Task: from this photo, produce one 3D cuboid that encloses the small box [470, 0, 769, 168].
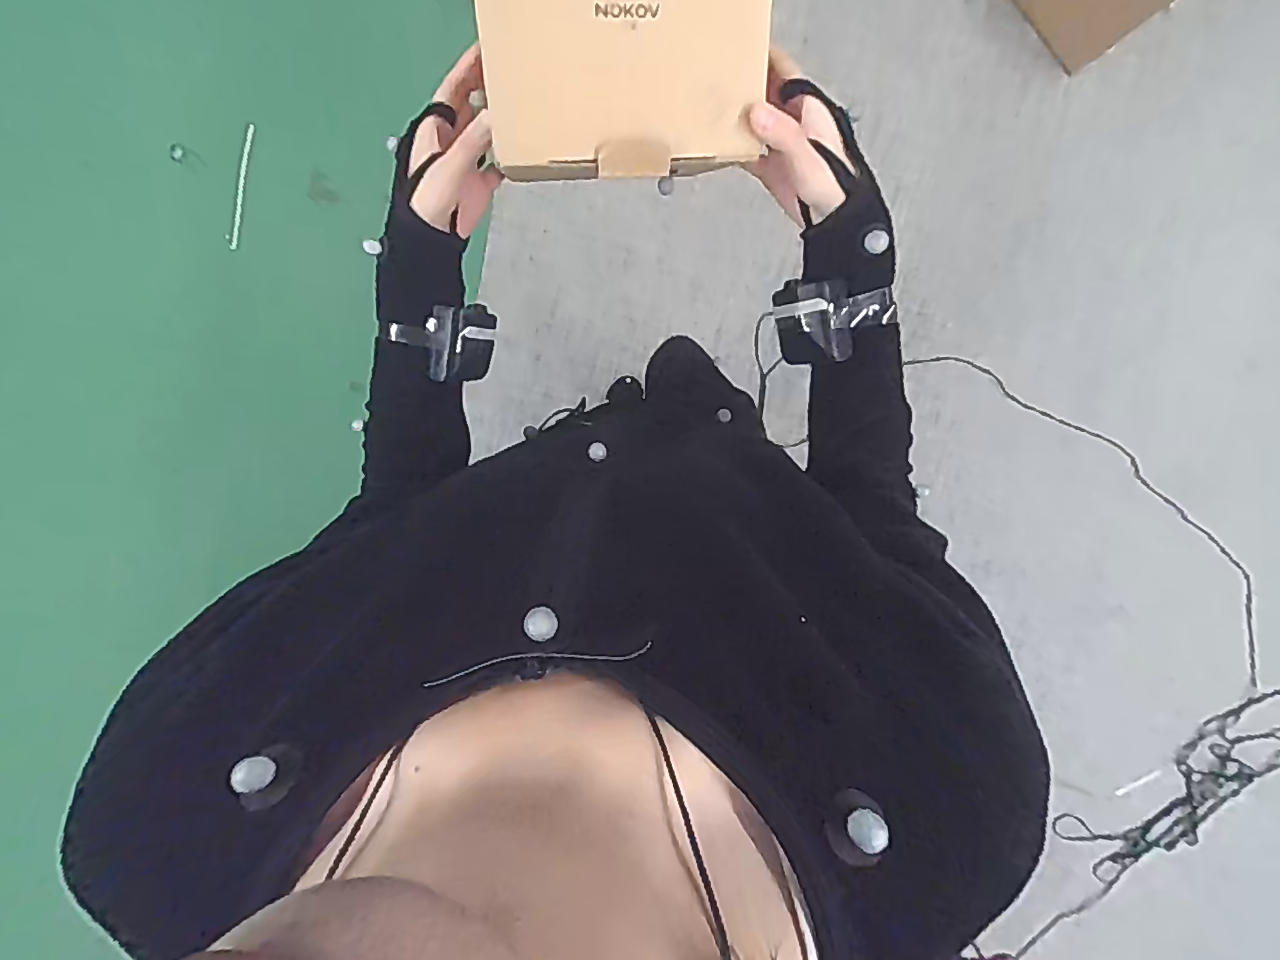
[{"bbox_3d":[-0.021,-0.309,0.355,0.168,0.176,0.179,-6,117,-8],"label":"small box"}]
